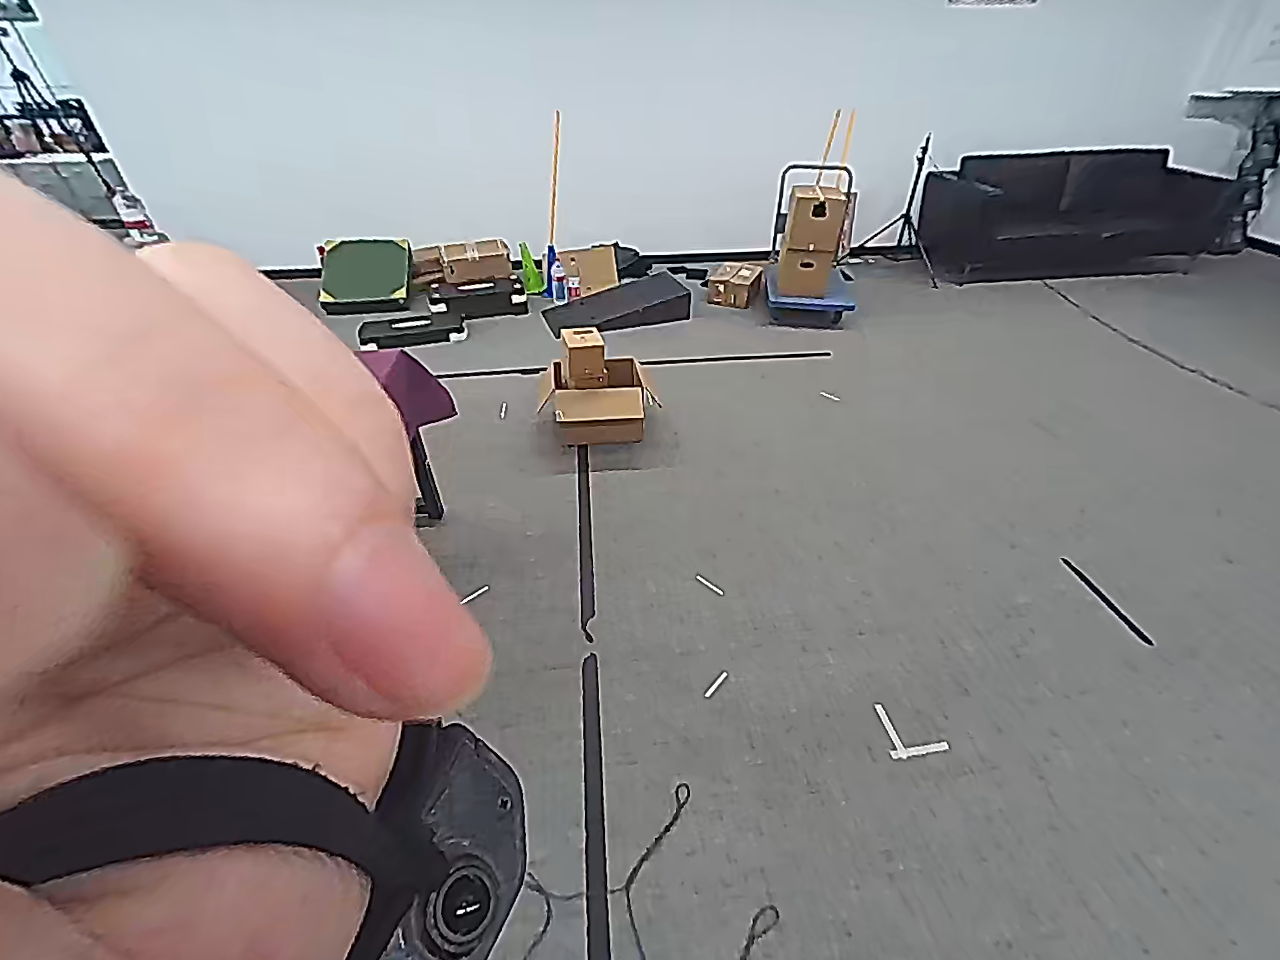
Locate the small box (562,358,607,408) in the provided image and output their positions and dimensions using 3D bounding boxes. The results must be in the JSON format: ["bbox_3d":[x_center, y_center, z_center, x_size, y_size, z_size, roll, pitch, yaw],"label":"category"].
[{"bbox_3d":[-0.268,-0.468,2.615,0.179,0.176,0.168,-16,45,-23],"label":"small box"}]
